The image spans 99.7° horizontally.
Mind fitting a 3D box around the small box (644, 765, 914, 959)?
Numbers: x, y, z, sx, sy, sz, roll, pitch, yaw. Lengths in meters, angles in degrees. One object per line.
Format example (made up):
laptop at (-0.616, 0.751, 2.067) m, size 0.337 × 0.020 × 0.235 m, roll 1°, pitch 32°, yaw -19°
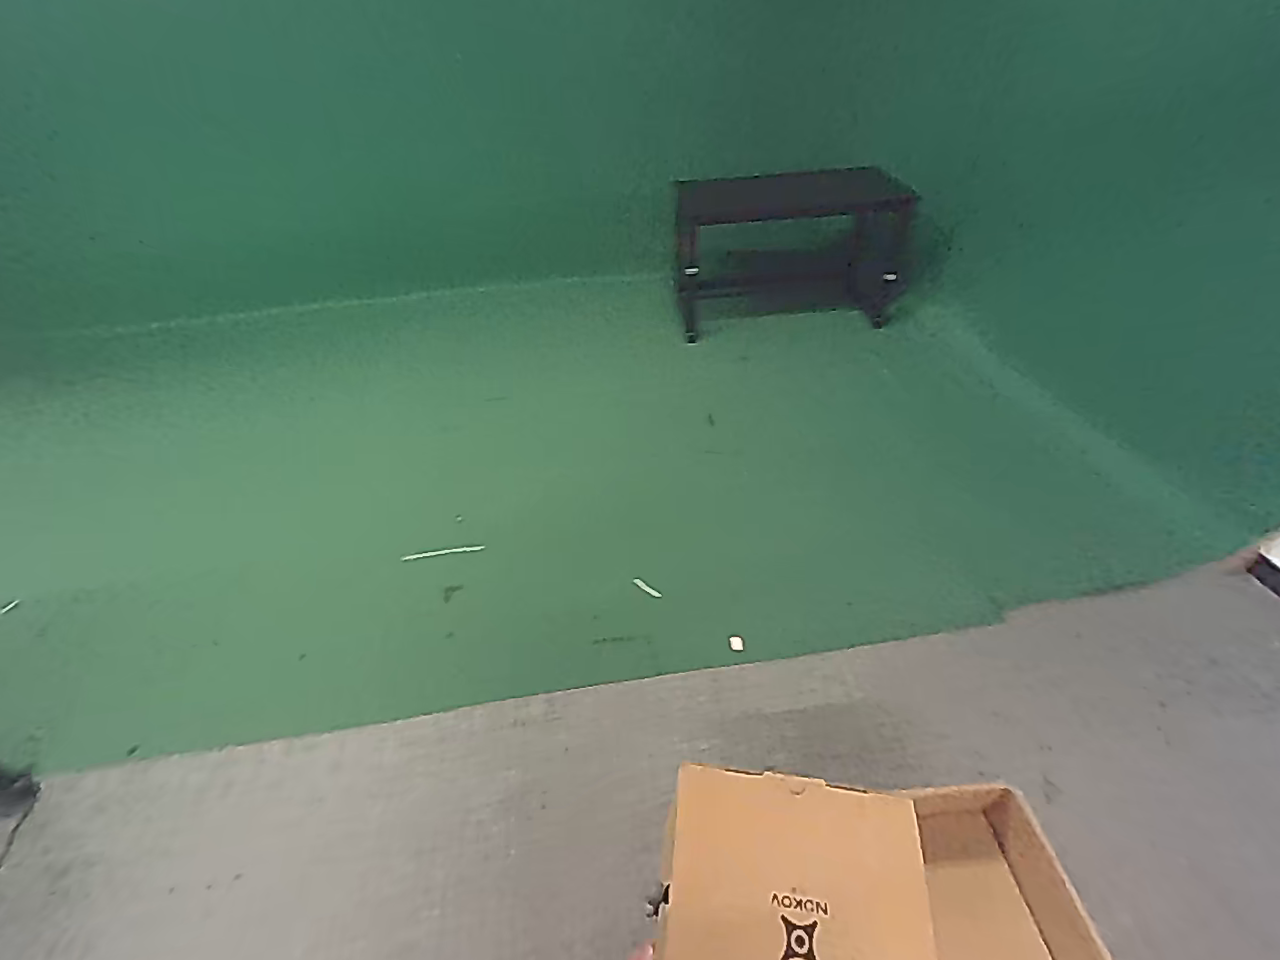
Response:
small box at (0.089, 0.336, 0.399) m, size 0.168 × 0.176 × 0.179 m, roll 5°, pitch 49°, yaw 5°
